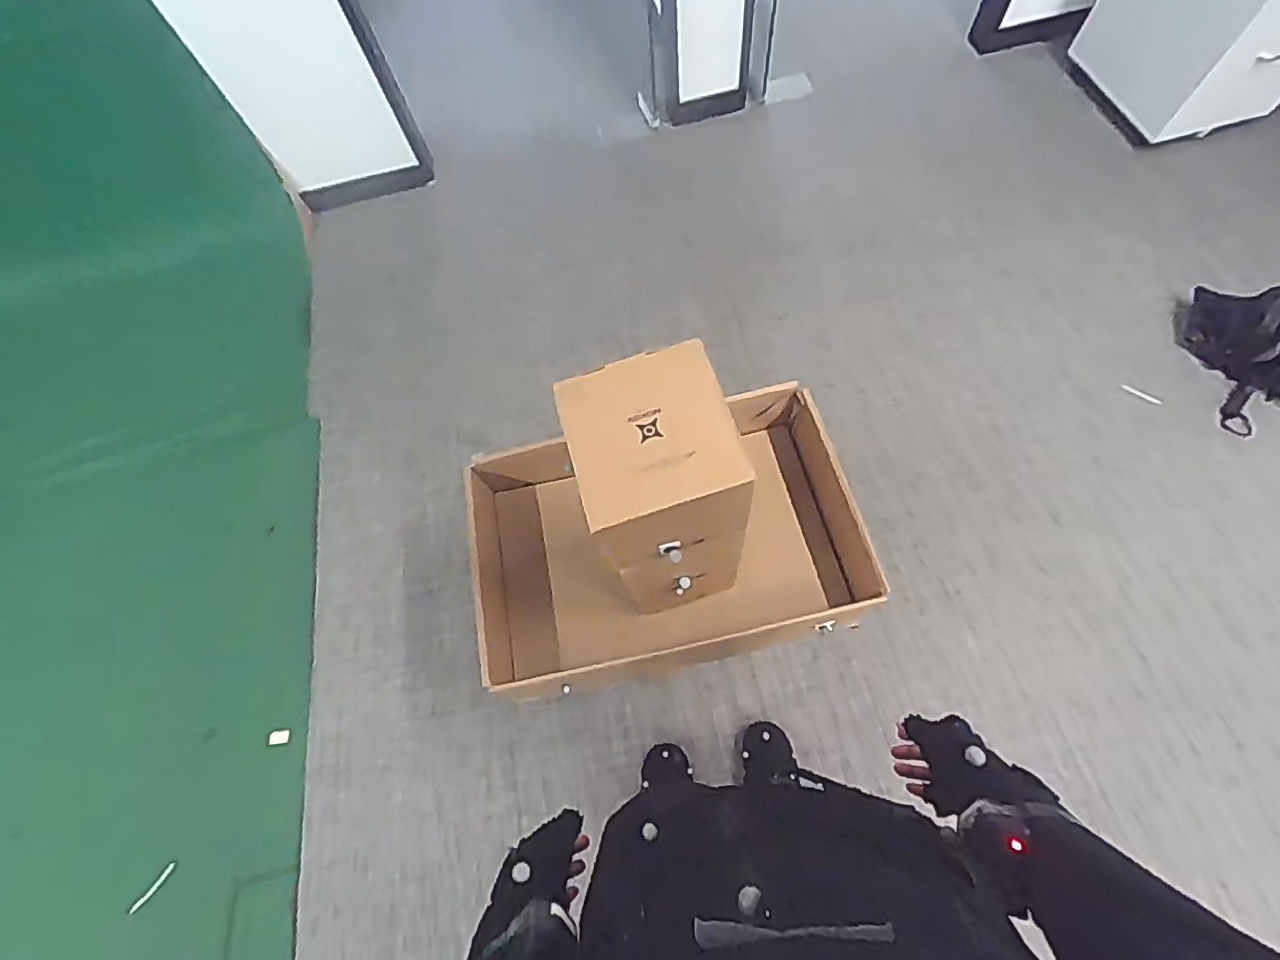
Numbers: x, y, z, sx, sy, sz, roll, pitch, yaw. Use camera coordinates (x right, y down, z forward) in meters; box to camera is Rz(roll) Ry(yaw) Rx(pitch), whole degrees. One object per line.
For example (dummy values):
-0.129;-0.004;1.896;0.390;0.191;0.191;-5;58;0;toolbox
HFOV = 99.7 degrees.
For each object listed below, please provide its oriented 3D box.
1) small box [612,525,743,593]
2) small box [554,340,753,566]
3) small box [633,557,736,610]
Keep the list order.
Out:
0.034;0.042;0.764;0.168;0.176;0.179;-17;66;-1;small box
0.016;-0.021;0.617;0.168;0.176;0.179;-18;67;1;small box
0.055;0.101;0.916;0.168;0.176;0.179;-19;65;1;small box
